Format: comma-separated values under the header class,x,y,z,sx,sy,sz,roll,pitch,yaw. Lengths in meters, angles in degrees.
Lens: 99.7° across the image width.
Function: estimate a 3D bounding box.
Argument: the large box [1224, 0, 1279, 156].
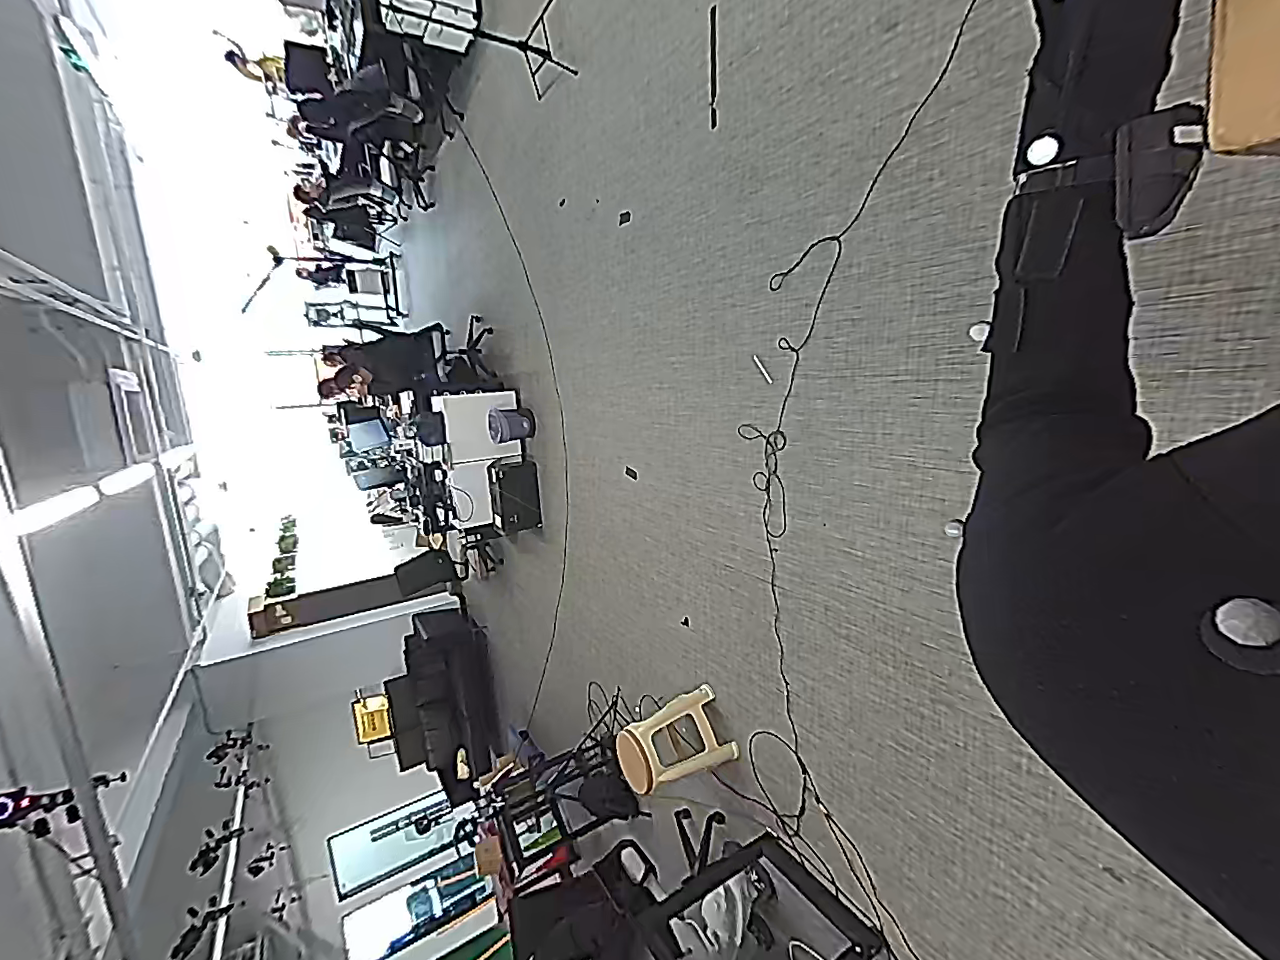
class,x,y,z,sx,sy,sz,roll,pitch,yaw
large box,0.526,-0.354,0.183,0.408,0.320,0.320,9,116,56
